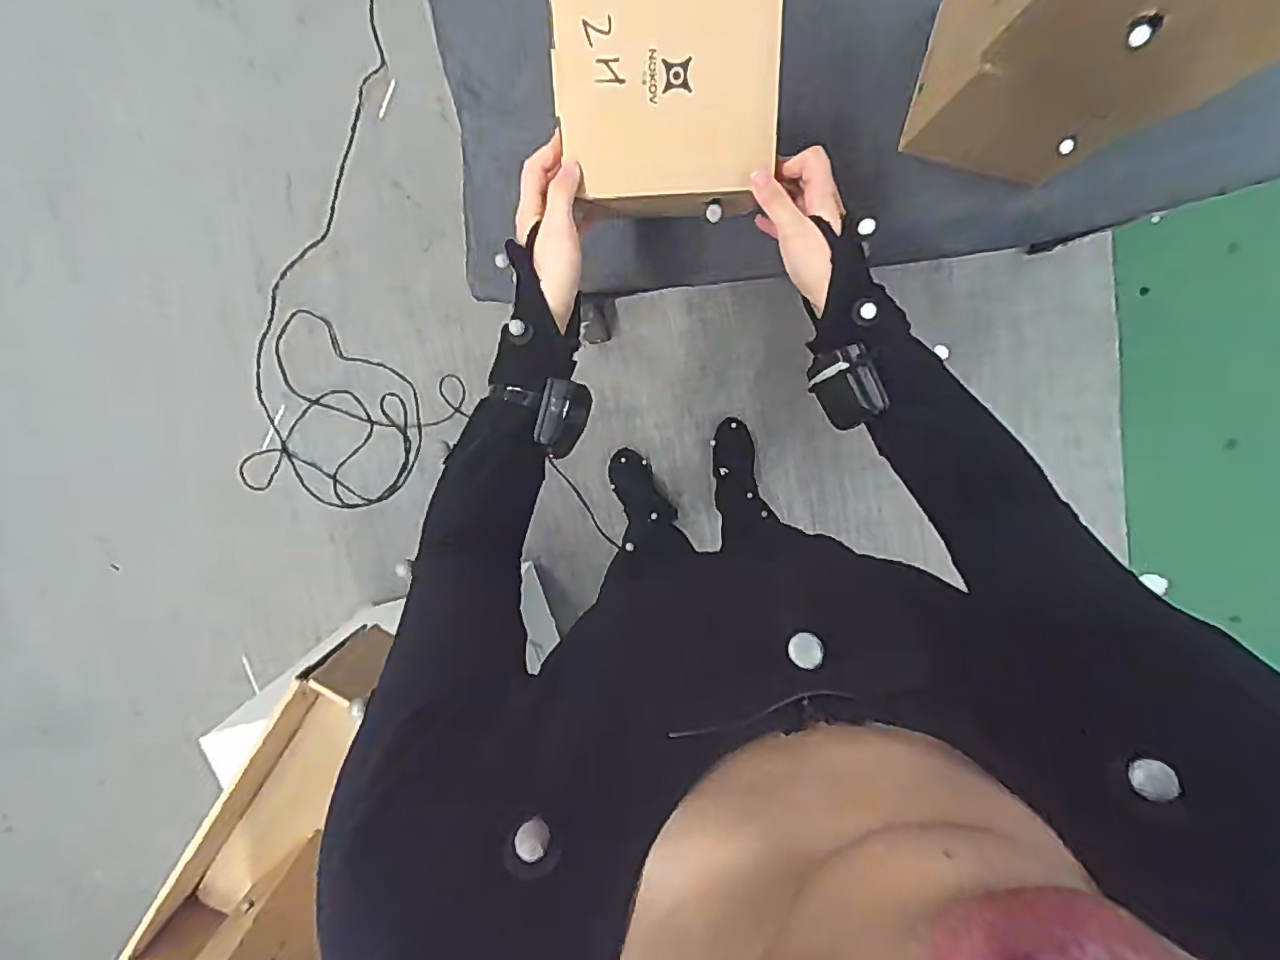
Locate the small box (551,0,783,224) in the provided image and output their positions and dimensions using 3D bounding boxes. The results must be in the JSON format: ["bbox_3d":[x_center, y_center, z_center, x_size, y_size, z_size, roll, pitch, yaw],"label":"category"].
[{"bbox_3d":[0.025,-0.336,0.498,0.179,0.176,0.168,0,110,4],"label":"small box"}]

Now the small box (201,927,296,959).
[{"bbox_3d":[-0.566,0.757,0.710,0.179,0.176,0.168,-39,100,5],"label":"small box"}]
